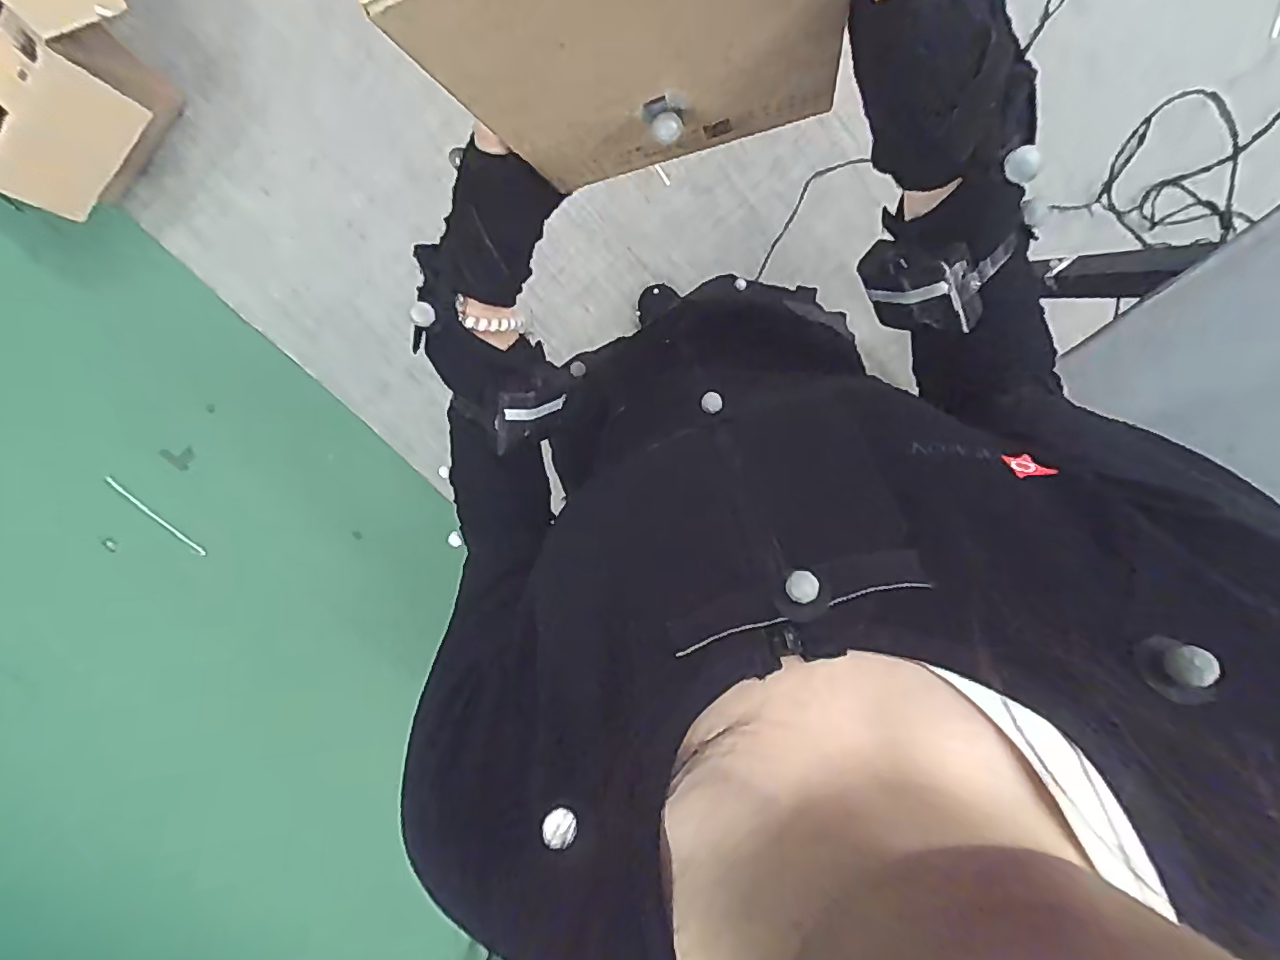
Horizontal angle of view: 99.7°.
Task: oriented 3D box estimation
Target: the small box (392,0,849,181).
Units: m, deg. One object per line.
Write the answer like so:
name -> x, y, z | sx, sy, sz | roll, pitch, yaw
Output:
small box -> -0.007, -0.264, 0.226 | 0.168, 0.176, 0.179 | -8, 97, 15
